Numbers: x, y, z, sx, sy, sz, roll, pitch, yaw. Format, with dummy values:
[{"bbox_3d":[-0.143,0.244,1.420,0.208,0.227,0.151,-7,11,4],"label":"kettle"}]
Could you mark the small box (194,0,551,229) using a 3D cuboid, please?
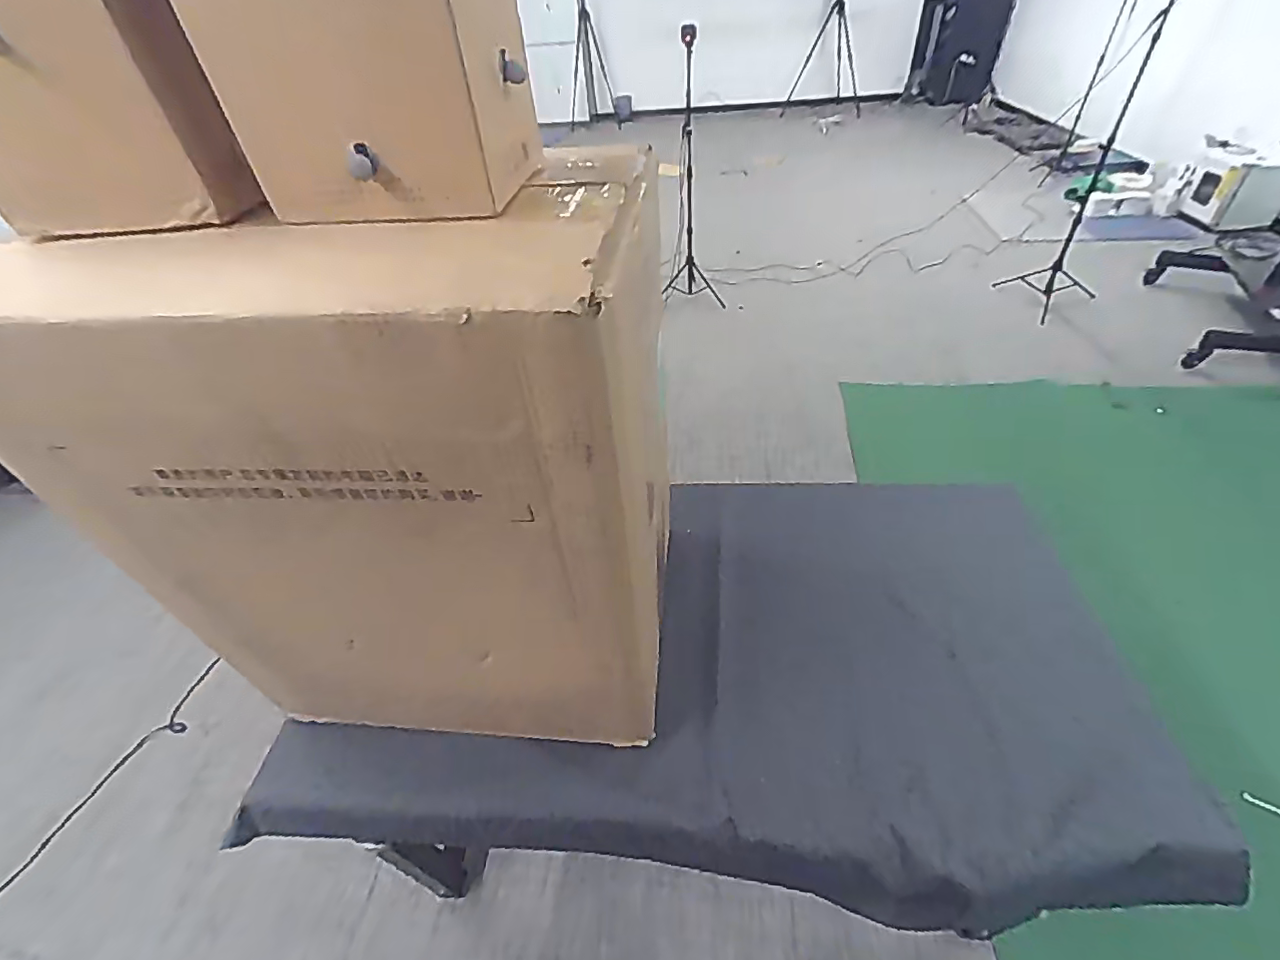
[{"bbox_3d":[-0.177,-0.307,0.416,0.179,0.176,0.168,0,43,6],"label":"small box"}]
